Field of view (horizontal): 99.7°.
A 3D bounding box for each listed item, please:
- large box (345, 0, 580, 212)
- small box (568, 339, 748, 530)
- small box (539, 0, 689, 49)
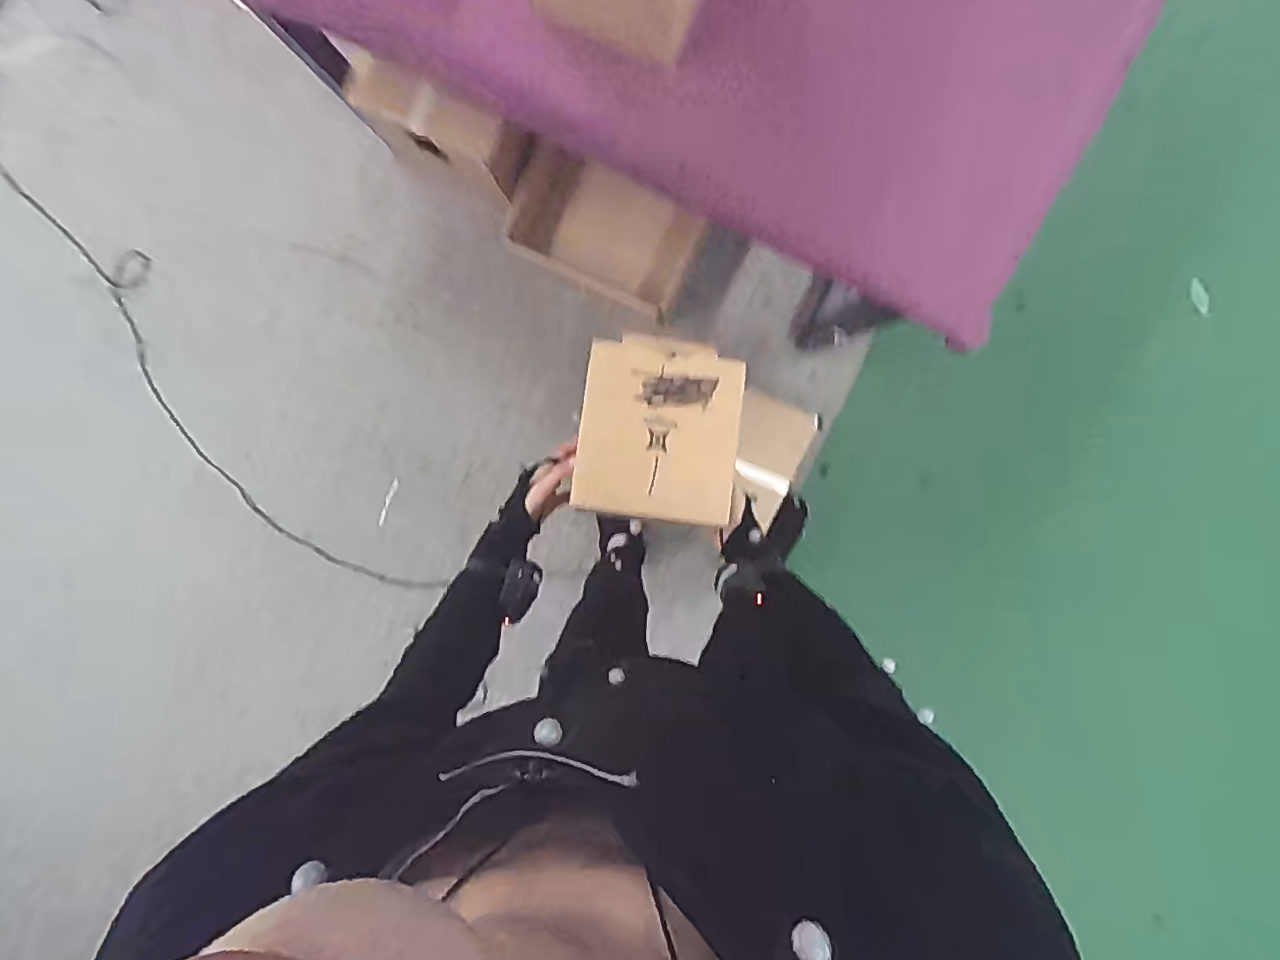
[{"bbox_3d":[-0.354,-0.881,1.167,0.320,0.320,0.408,23,99,-2],"label":"large box"},{"bbox_3d":[0.015,-0.040,0.629,0.168,0.176,0.179,9,84,-2],"label":"small box"},{"bbox_3d":[-0.015,-0.578,0.528,0.179,0.176,0.168,23,96,-1],"label":"small box"}]
